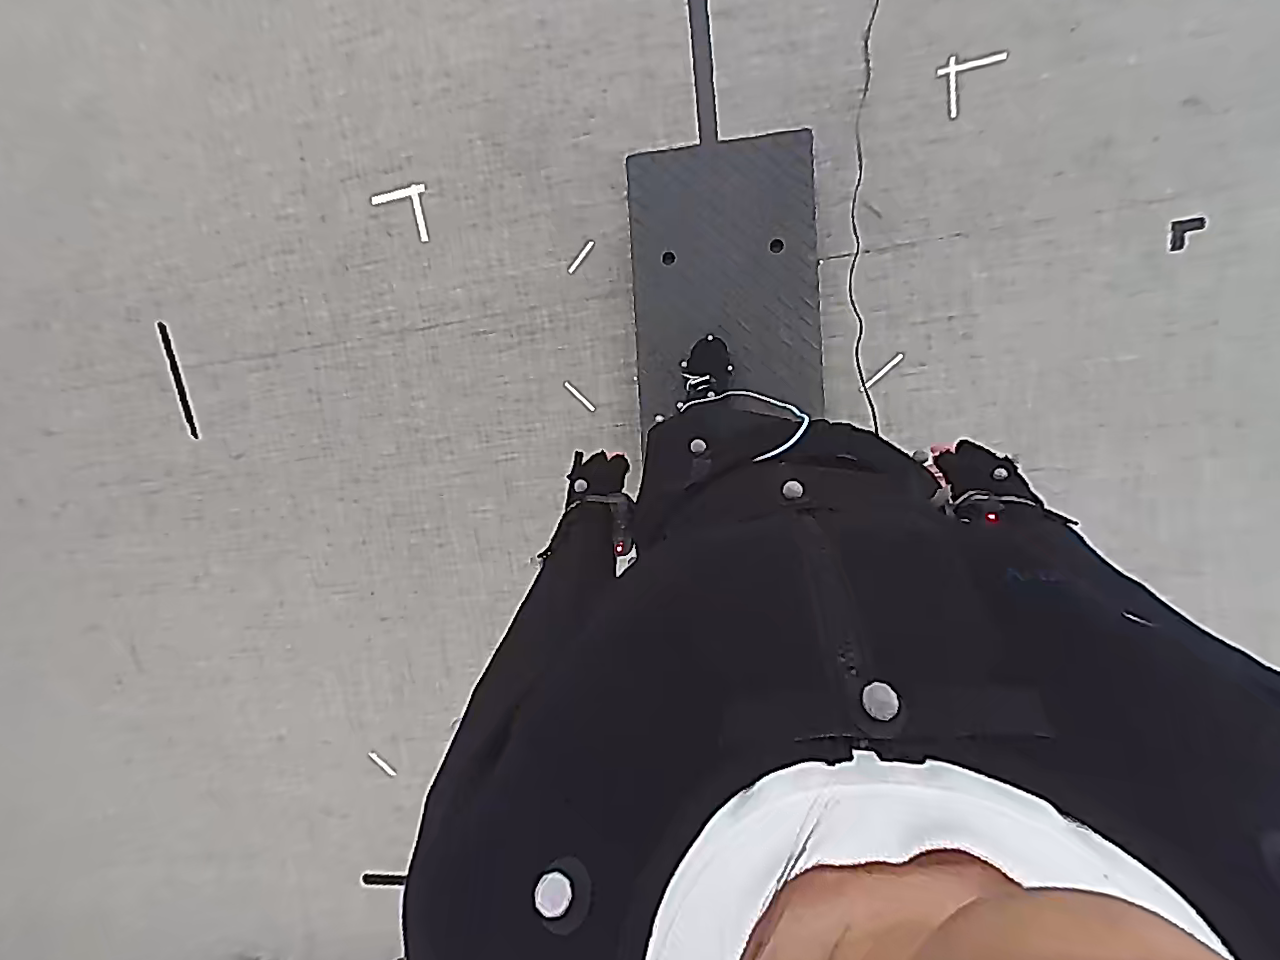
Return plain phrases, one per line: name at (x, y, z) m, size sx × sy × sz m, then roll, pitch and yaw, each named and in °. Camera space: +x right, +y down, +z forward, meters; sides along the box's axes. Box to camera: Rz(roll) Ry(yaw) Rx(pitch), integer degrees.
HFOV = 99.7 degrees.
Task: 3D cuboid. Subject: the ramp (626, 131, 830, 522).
ramp at (0.226, -0.392, 1.445) m, size 0.509 × 0.206 × 0.991 m, roll -5°, pitch 100°, yaw 11°
